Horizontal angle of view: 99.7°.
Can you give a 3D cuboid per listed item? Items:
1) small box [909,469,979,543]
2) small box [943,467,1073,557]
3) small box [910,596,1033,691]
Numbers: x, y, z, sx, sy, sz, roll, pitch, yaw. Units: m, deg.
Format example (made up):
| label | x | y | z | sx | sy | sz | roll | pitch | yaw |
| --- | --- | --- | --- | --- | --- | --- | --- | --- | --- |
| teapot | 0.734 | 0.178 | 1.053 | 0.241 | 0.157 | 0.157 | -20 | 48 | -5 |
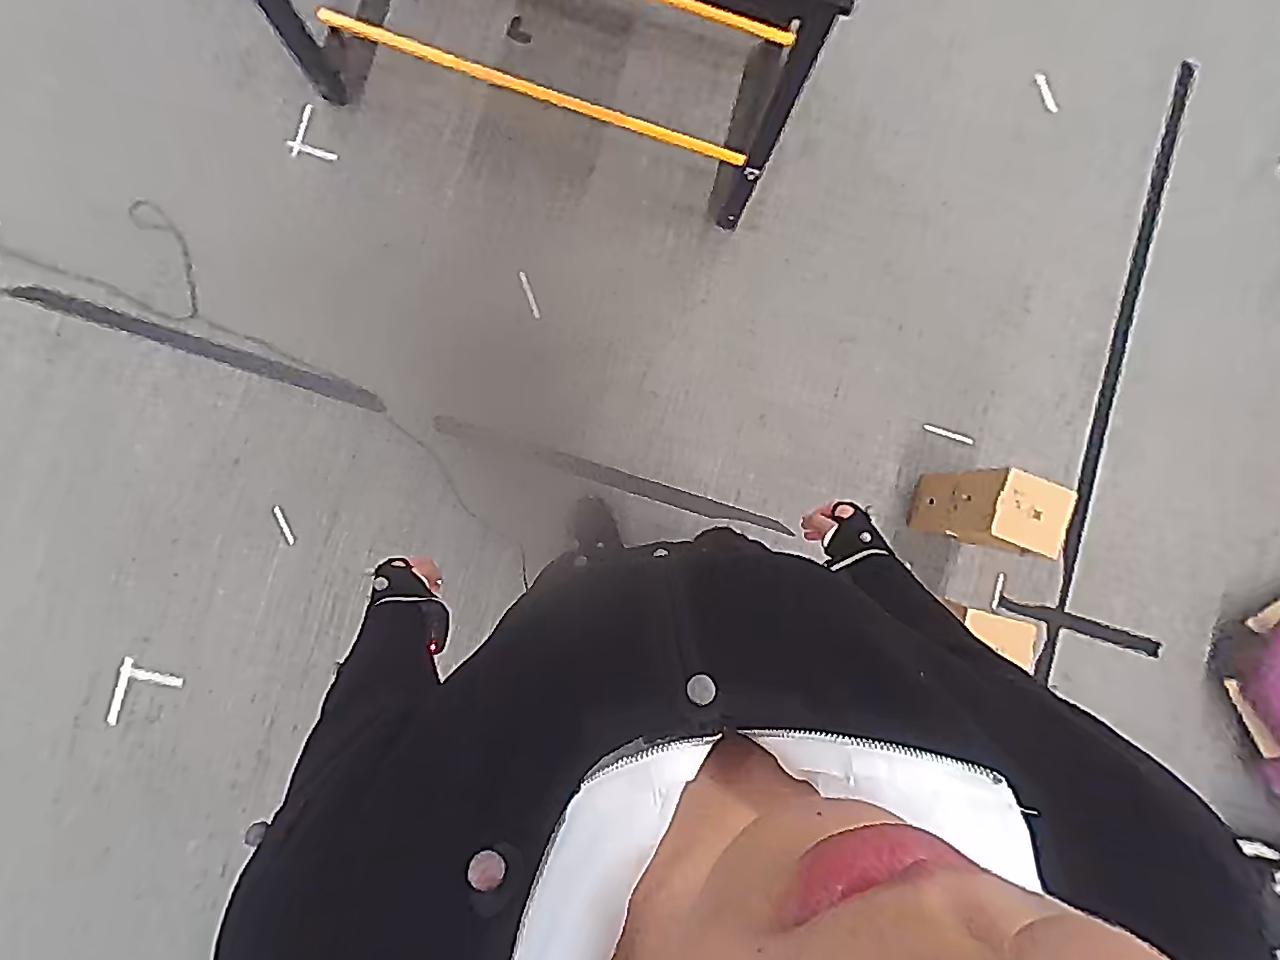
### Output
| label | x | y | z | sx | sy | sz | roll | pitch | yaw |
| --- | --- | --- | --- | --- | --- | --- | --- | --- | --- |
| small box | 0.879 | 0.076 | 1.492 | 0.179 | 0.176 | 0.168 | 16 | 87 | -3 |
| small box | 0.894 | 0.074 | 1.327 | 0.179 | 0.176 | 0.168 | 21 | 87 | -3 |
| small box | 0.800 | 0.389 | 1.318 | 0.179 | 0.176 | 0.168 | 15 | 86 | -2 |
